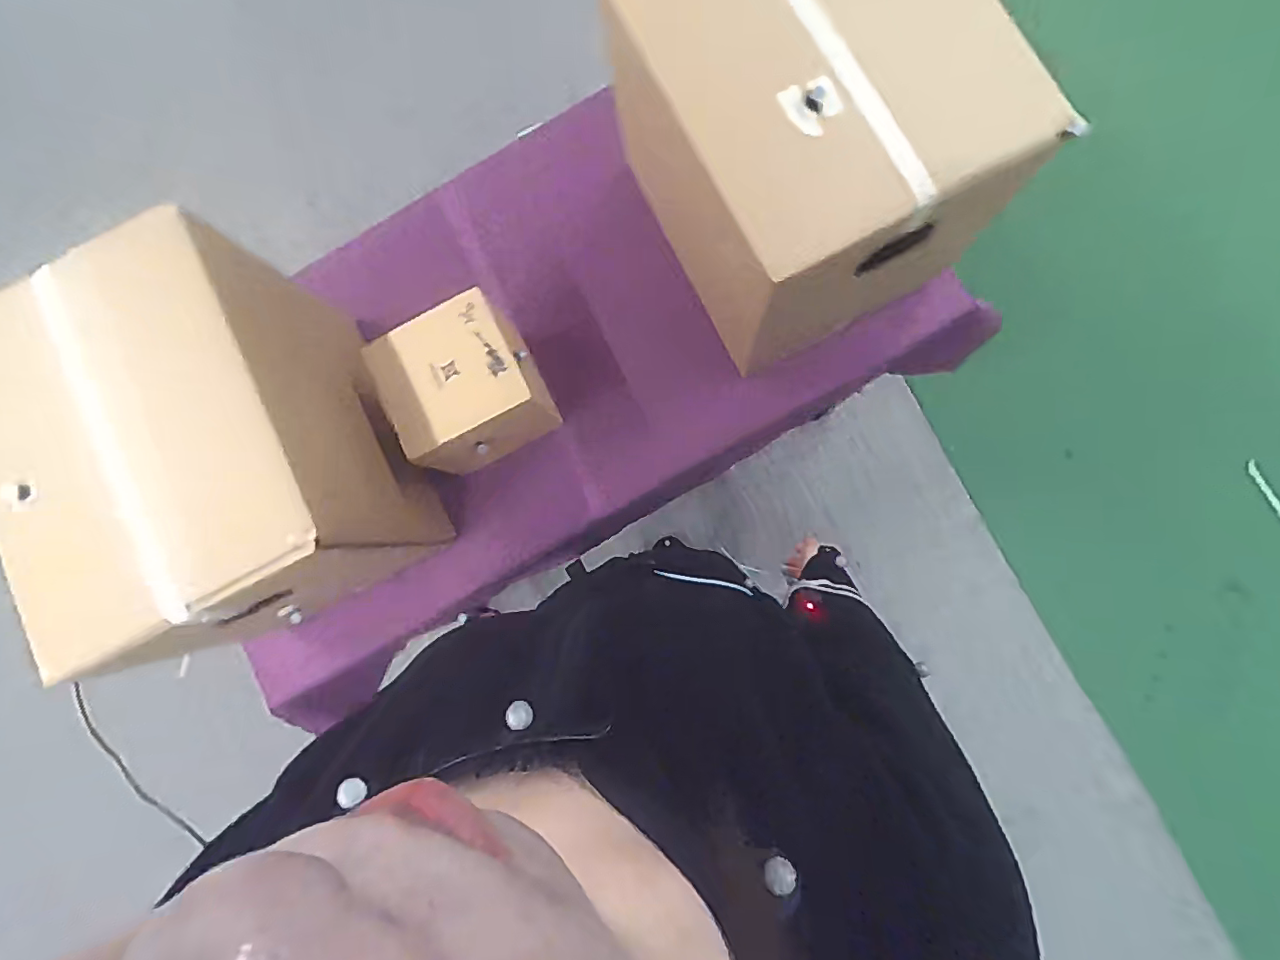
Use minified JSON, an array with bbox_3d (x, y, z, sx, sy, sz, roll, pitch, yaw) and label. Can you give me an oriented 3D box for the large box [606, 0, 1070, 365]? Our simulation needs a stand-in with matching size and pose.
[{"bbox_3d":[0.190,-0.422,0.678,0.320,0.320,0.408,-27,84,2],"label":"large box"}]
